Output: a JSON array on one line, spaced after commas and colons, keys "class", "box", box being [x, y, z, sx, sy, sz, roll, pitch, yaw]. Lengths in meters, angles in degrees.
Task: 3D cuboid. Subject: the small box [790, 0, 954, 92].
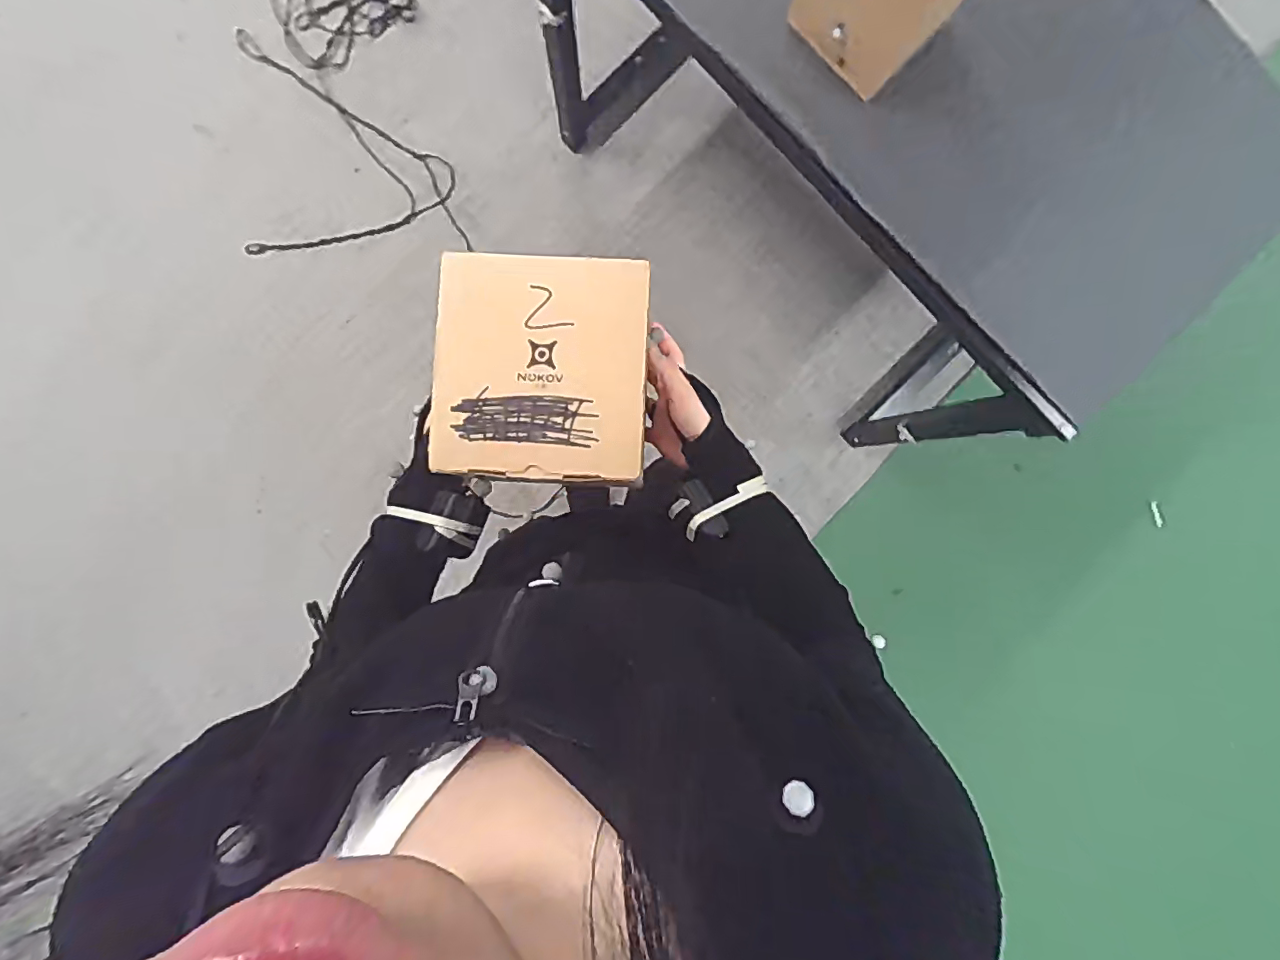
[{"class": "small box", "box": [0.322, -0.658, 0.684, 0.168, 0.176, 0.179, 44, 88, -2]}]
